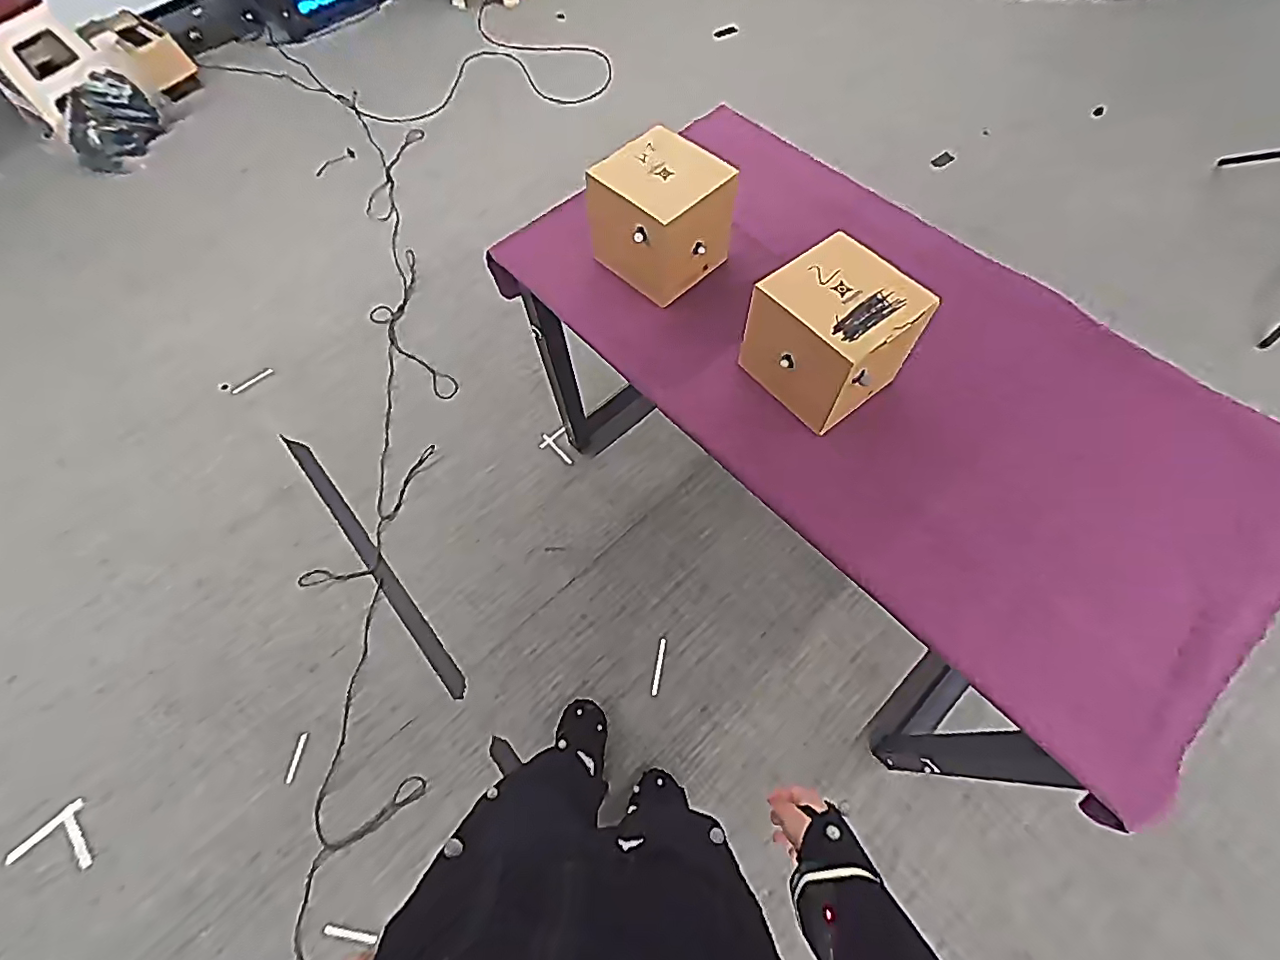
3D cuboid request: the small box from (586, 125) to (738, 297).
[{"bbox_3d":[0.035,-0.433,0.892,0.168,0.176,0.179,-42,69,-18],"label":"small box"}]
